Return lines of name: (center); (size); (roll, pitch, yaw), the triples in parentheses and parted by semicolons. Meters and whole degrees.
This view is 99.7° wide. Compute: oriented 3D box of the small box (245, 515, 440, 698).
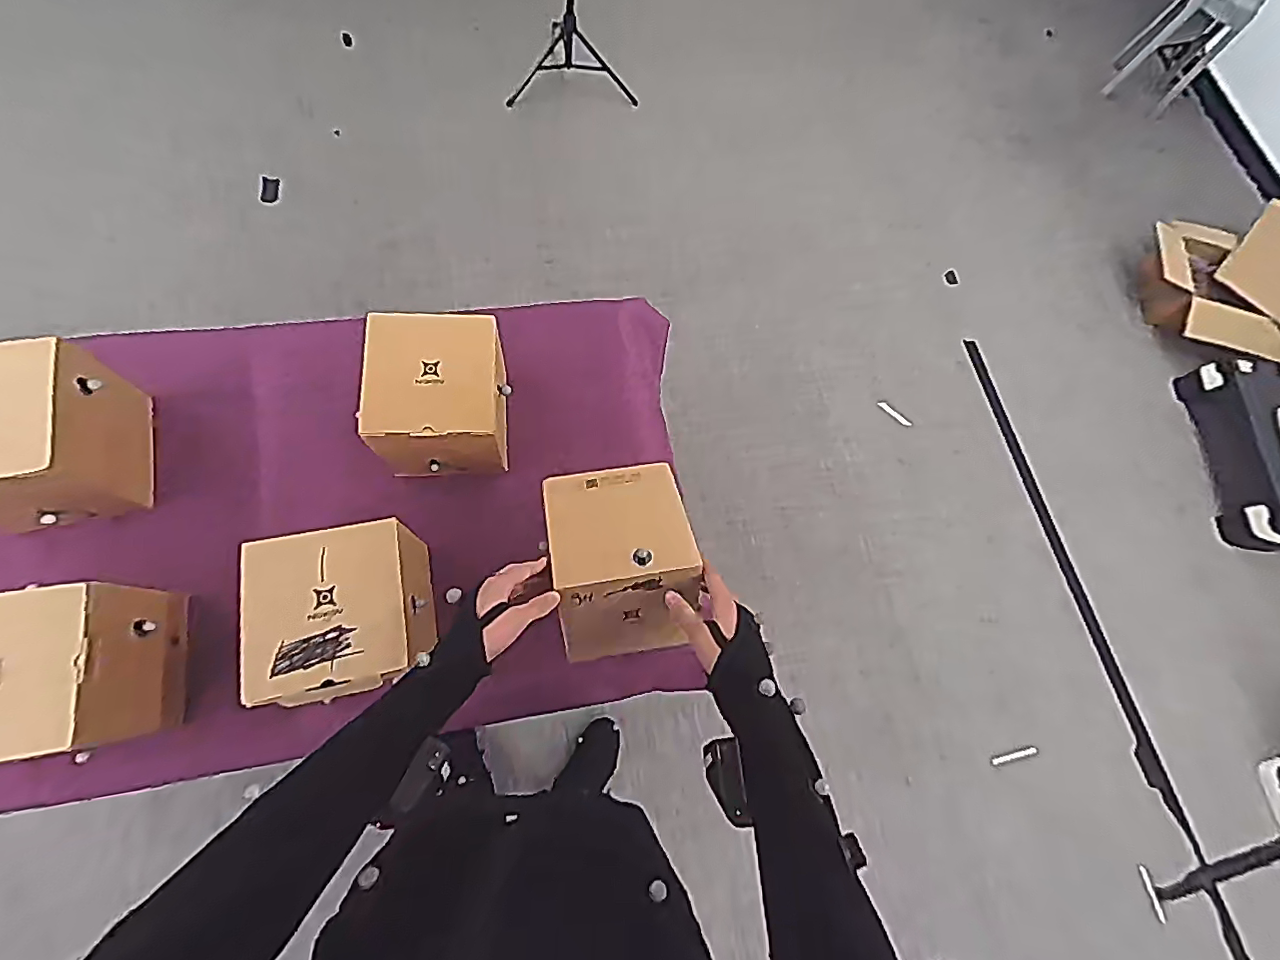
small box: (-0.355, 0.158, 0.672); (0.168, 0.176, 0.179); (-9, 72, -12)

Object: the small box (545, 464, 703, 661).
small box: (-0.027, 0.104, 0.694); (0.168, 0.179, 0.176); (-8, 44, -9)

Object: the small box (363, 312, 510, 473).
small box: (-0.281, -0.119, 0.782); (0.168, 0.176, 0.179); (-2, 73, -9)

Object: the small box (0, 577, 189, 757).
small box: (-0.653, 0.212, 0.606); (0.179, 0.176, 0.168); (-7, 72, -12)

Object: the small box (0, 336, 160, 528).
small box: (-0.754, -0.054, 0.682); (0.168, 0.176, 0.179); (-11, 74, -12)
